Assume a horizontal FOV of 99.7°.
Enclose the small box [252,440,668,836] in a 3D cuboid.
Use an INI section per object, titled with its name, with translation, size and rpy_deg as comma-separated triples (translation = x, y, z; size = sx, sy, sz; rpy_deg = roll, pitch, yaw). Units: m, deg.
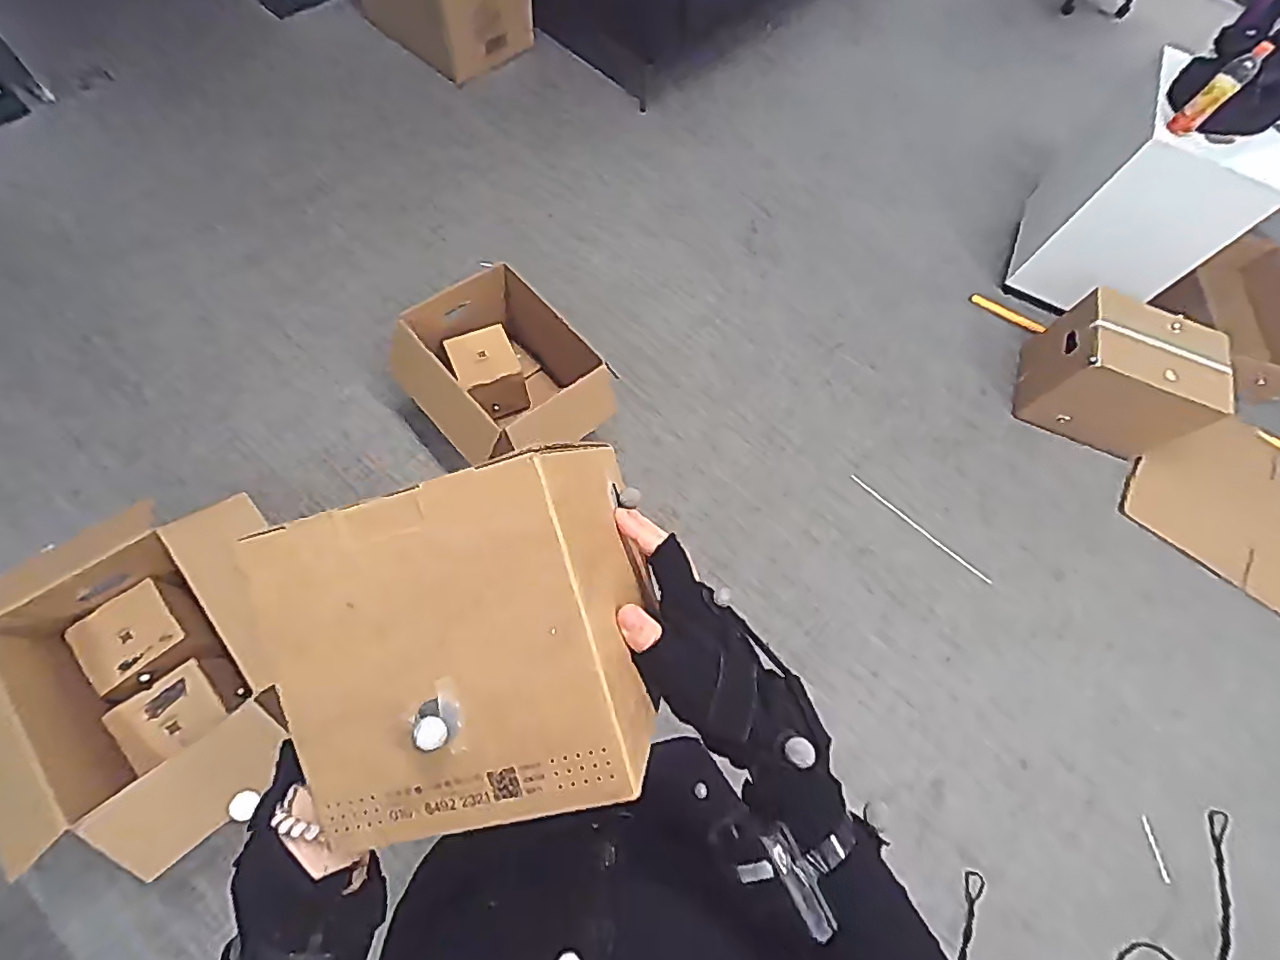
[small box]
translation = -0.086, 0.078, 0.341
size = 0.168, 0.179, 0.176
rpy_deg = -16, 92, 9
